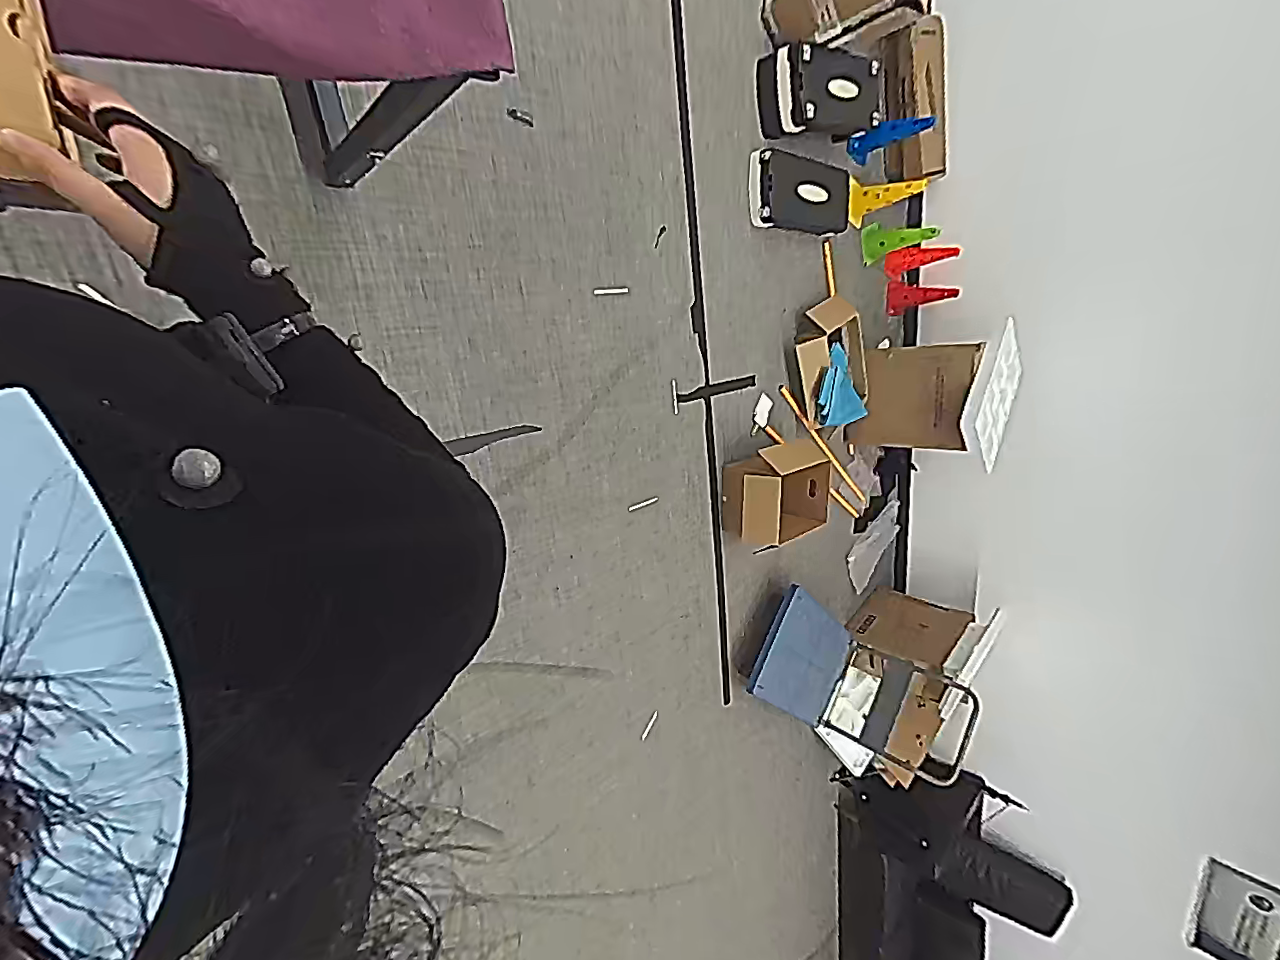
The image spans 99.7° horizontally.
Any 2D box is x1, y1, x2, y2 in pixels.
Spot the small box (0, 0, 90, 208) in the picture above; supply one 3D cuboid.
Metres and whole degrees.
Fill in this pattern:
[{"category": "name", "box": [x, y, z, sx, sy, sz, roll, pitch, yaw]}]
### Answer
[{"category": "small box", "box": [-0.466, -0.267, 0.318, 0.179, 0.176, 0.168, -15, 114, -41]}]
